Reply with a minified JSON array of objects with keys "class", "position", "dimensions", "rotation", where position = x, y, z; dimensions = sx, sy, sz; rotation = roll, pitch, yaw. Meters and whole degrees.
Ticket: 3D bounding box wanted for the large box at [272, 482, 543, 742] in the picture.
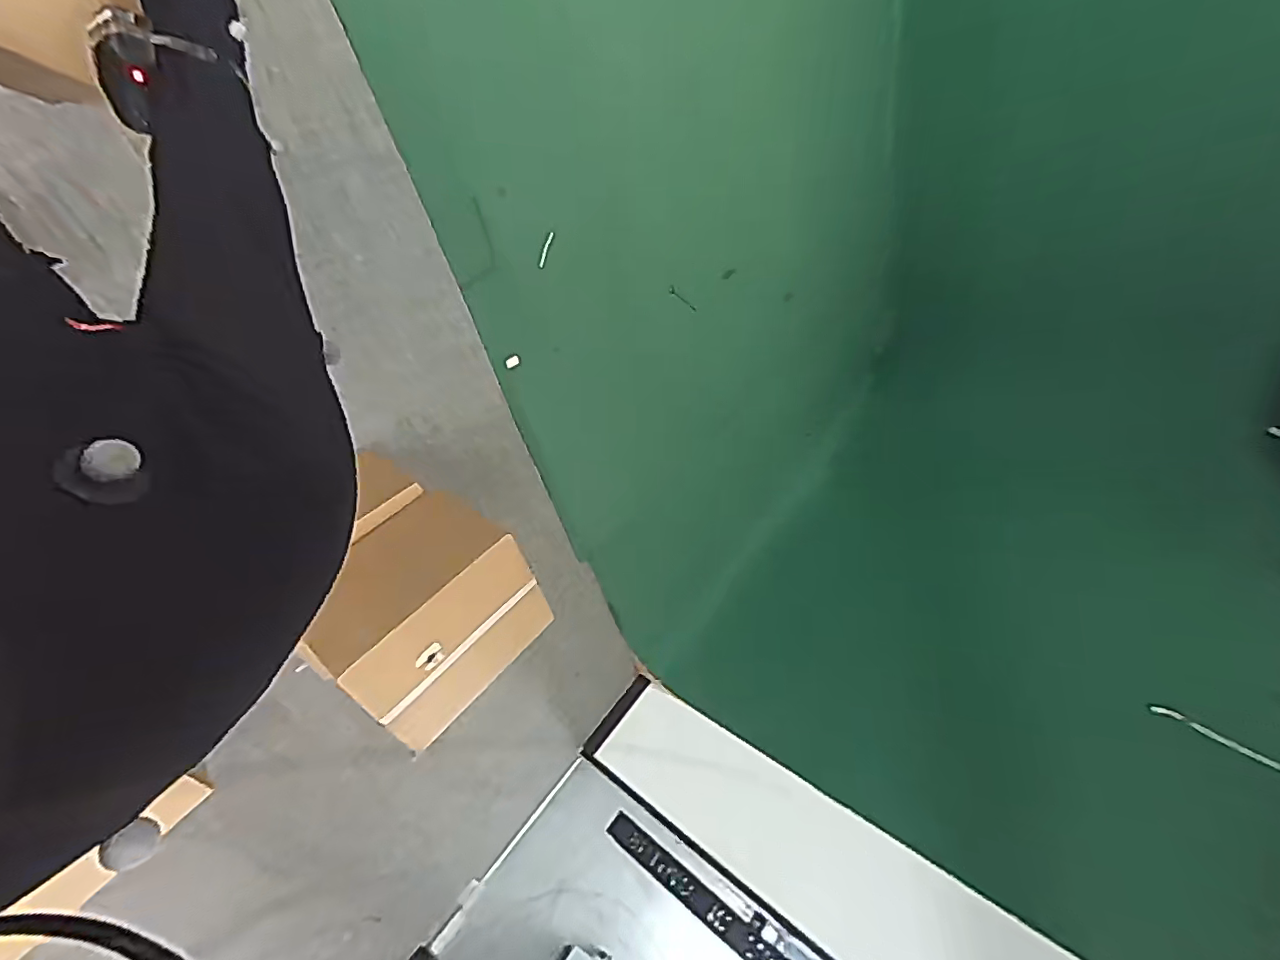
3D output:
[{"class":"large box","position":[-0.496,0.274,1.216],"dimensions":[0.408,0.320,0.320],"rotation":[-42,138,-30]}]
